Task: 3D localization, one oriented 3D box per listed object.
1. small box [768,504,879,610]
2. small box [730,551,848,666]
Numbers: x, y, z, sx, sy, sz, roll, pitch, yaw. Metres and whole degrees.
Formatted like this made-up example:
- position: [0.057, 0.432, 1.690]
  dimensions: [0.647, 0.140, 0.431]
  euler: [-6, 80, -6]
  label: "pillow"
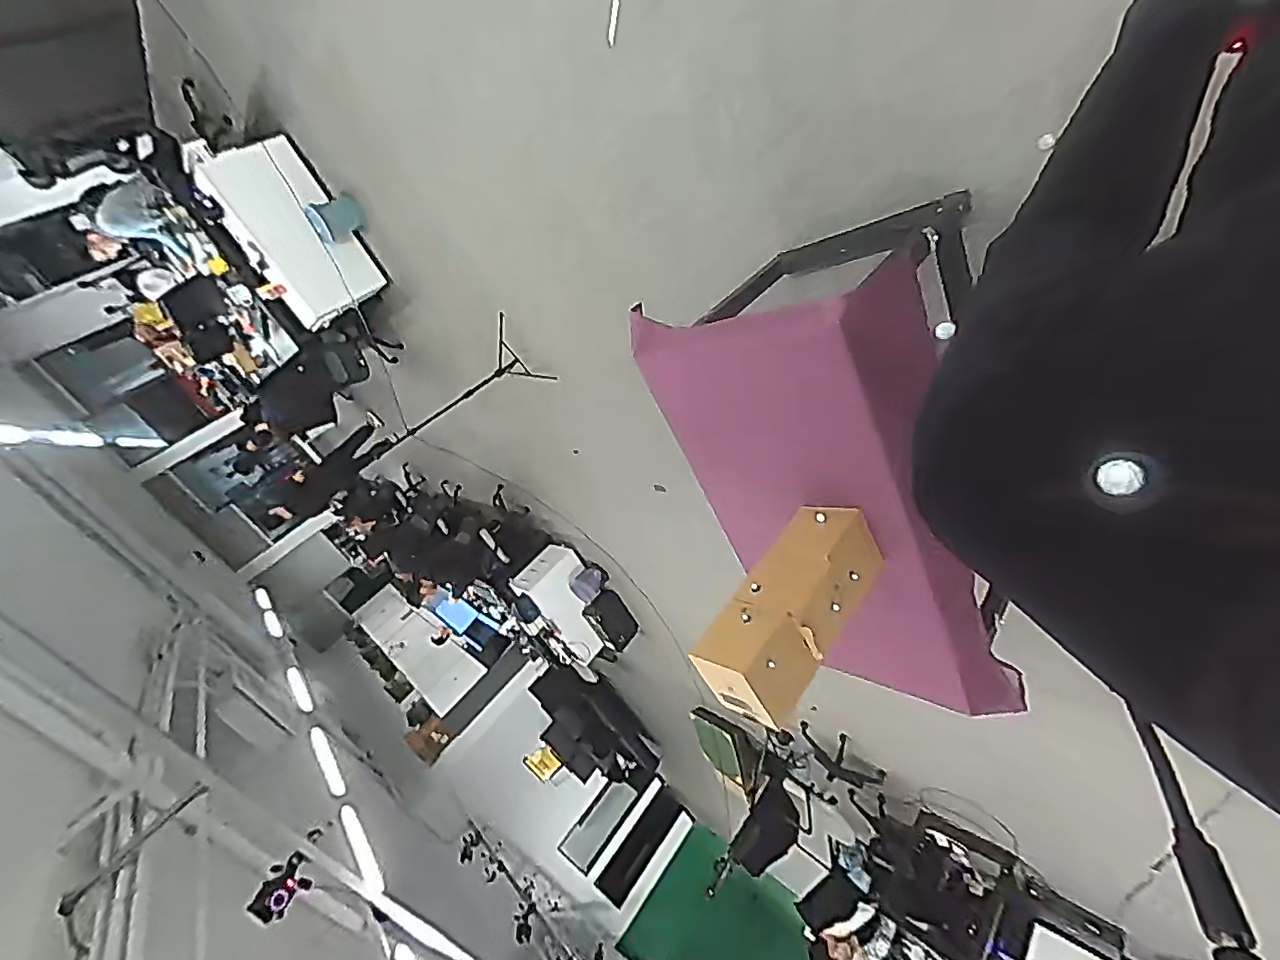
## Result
- position: [0.449, 0.181, 1.310]
  dimensions: [0.168, 0.176, 0.179]
  euler: [0, 127, 53]
  label: "small box"
- position: [0.343, 0.283, 1.237]
  dimensions: [0.179, 0.176, 0.168]
  euler: [7, 134, 50]
  label: "small box"
